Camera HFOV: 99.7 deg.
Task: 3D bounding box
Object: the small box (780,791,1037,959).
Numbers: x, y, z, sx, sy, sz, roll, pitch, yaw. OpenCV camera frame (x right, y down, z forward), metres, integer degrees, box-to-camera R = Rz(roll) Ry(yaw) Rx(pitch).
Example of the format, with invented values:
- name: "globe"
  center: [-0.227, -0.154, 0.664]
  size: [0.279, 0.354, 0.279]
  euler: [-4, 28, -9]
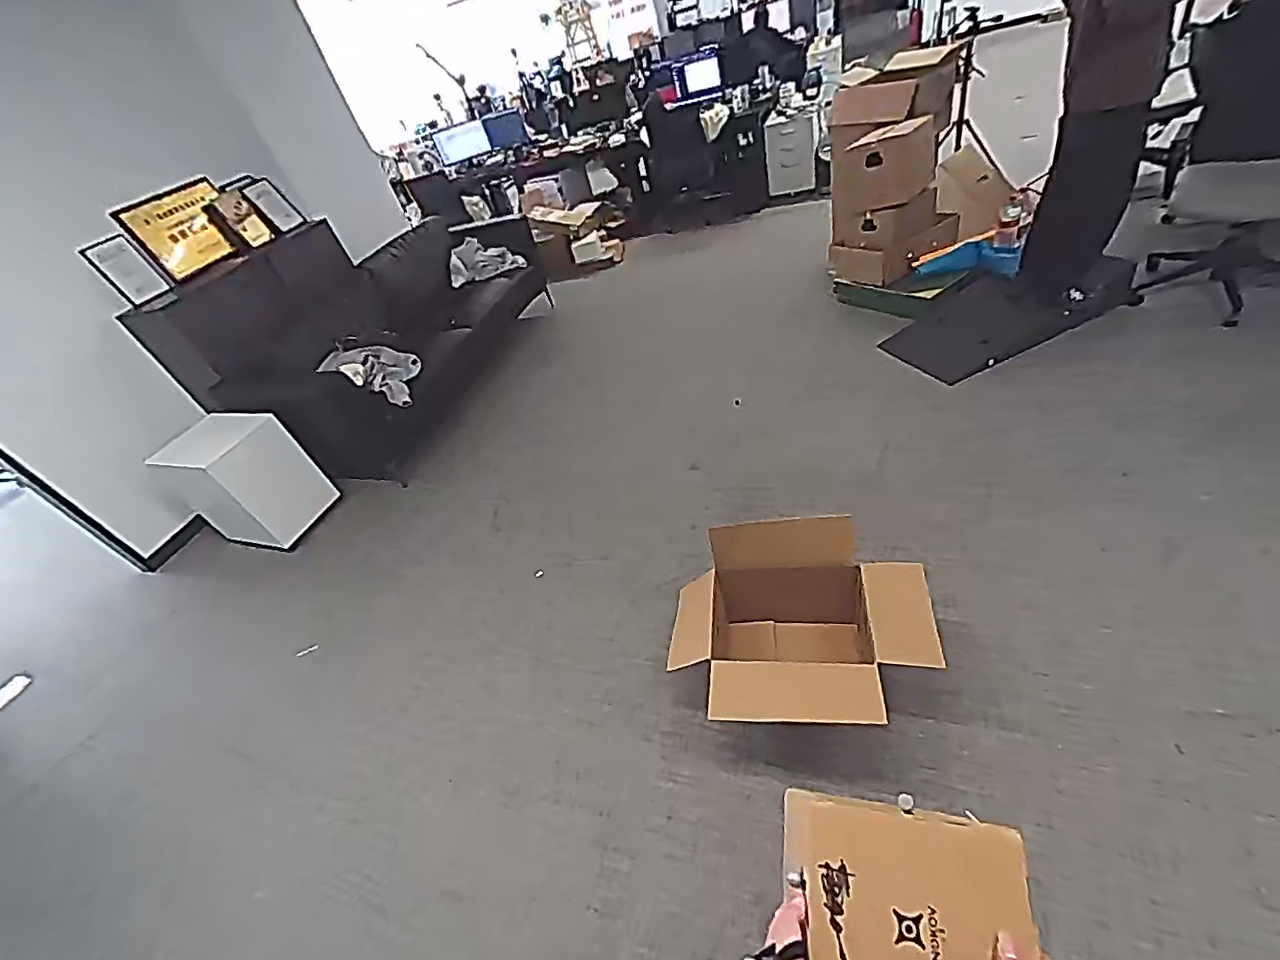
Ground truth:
- name: "small box"
  center: [0.234, 0.399, 0.507]
  size: [0.179, 0.176, 0.168]
  euler: [4, 62, 9]
